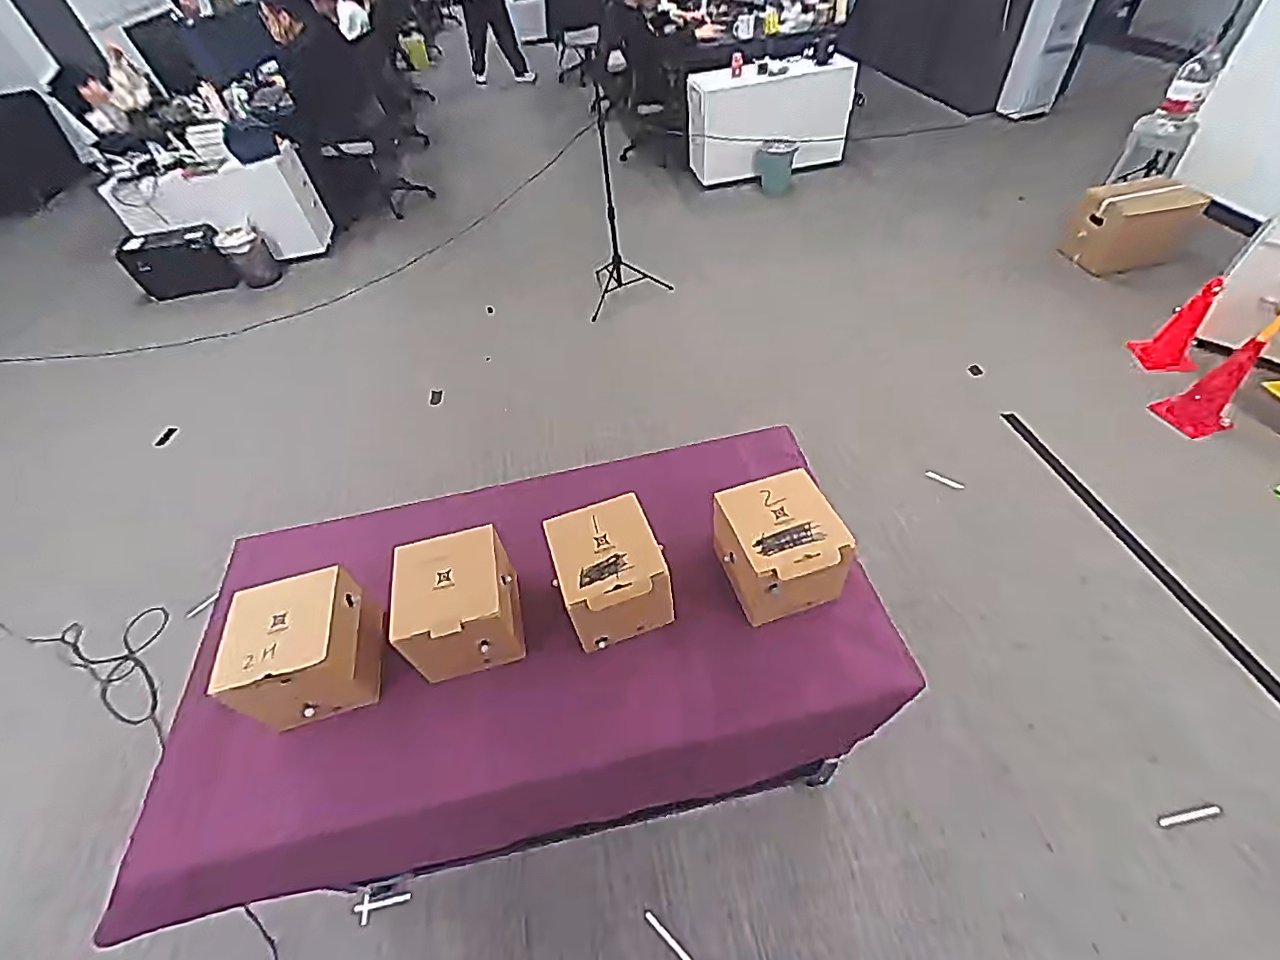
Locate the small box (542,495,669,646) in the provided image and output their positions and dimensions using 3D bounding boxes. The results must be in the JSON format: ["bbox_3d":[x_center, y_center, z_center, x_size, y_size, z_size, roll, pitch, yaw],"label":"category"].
[{"bbox_3d":[-0.055,0.162,0.928,0.168,0.176,0.179,-18,49,-9],"label":"small box"}]

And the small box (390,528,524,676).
[{"bbox_3d":[-0.302,0.214,0.917,0.168,0.176,0.179,-14,49,-5],"label":"small box"}]

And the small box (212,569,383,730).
[{"bbox_3d":[-0.542,0.279,0.887,0.168,0.176,0.179,-15,49,-5],"label":"small box"}]
